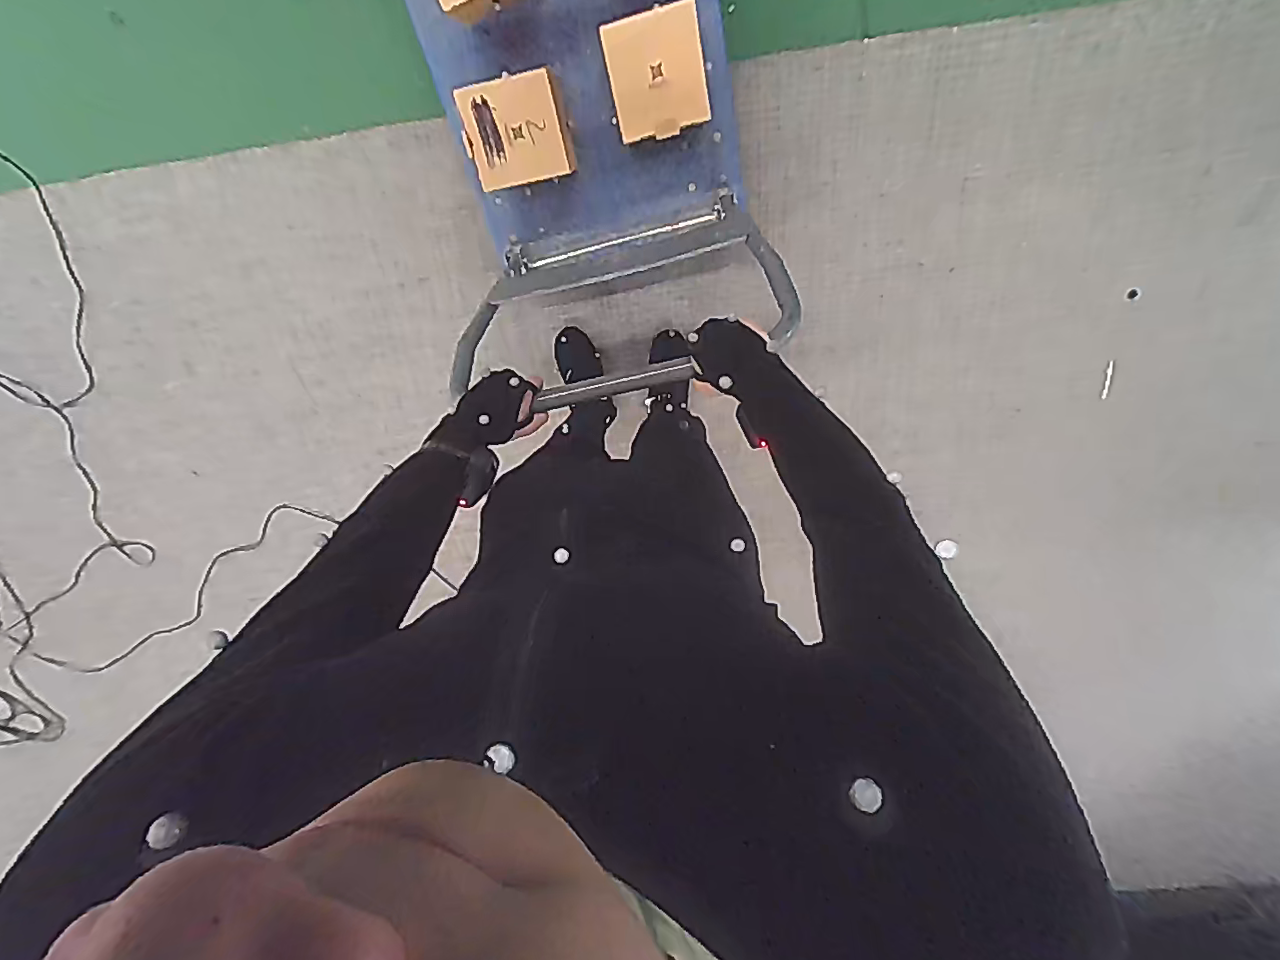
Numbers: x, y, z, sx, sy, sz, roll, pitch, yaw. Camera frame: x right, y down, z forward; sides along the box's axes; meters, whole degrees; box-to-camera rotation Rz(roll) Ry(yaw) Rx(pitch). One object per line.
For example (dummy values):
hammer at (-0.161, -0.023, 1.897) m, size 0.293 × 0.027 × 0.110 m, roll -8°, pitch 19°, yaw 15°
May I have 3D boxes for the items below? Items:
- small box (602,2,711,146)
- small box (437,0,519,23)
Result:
small box at (0.030, -0.747, 1.010) m, size 0.168 × 0.176 × 0.179 m, roll -12°, pitch 124°, yaw 8°
small box at (-0.281, -0.903, 0.902) m, size 0.168 × 0.176 × 0.179 m, roll -19°, pitch 122°, yaw 11°
